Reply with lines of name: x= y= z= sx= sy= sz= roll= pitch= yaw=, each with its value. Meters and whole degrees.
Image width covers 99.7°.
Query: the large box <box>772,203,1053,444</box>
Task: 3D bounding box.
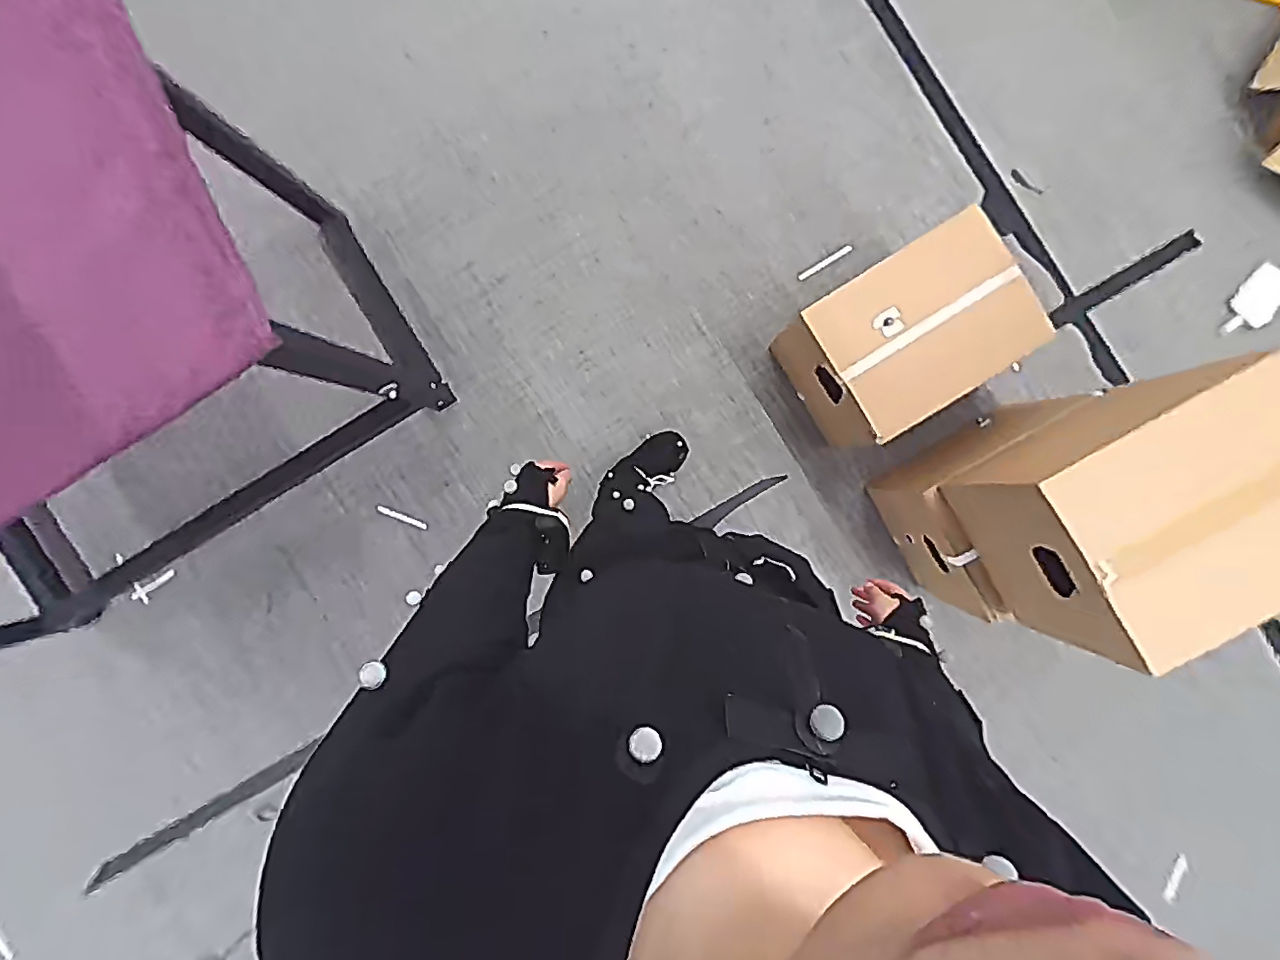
large box: x=0.569 y=-0.314 z=1.210 sx=0.408 sy=0.320 sz=0.320 roll=-32 pitch=90 yaw=4
